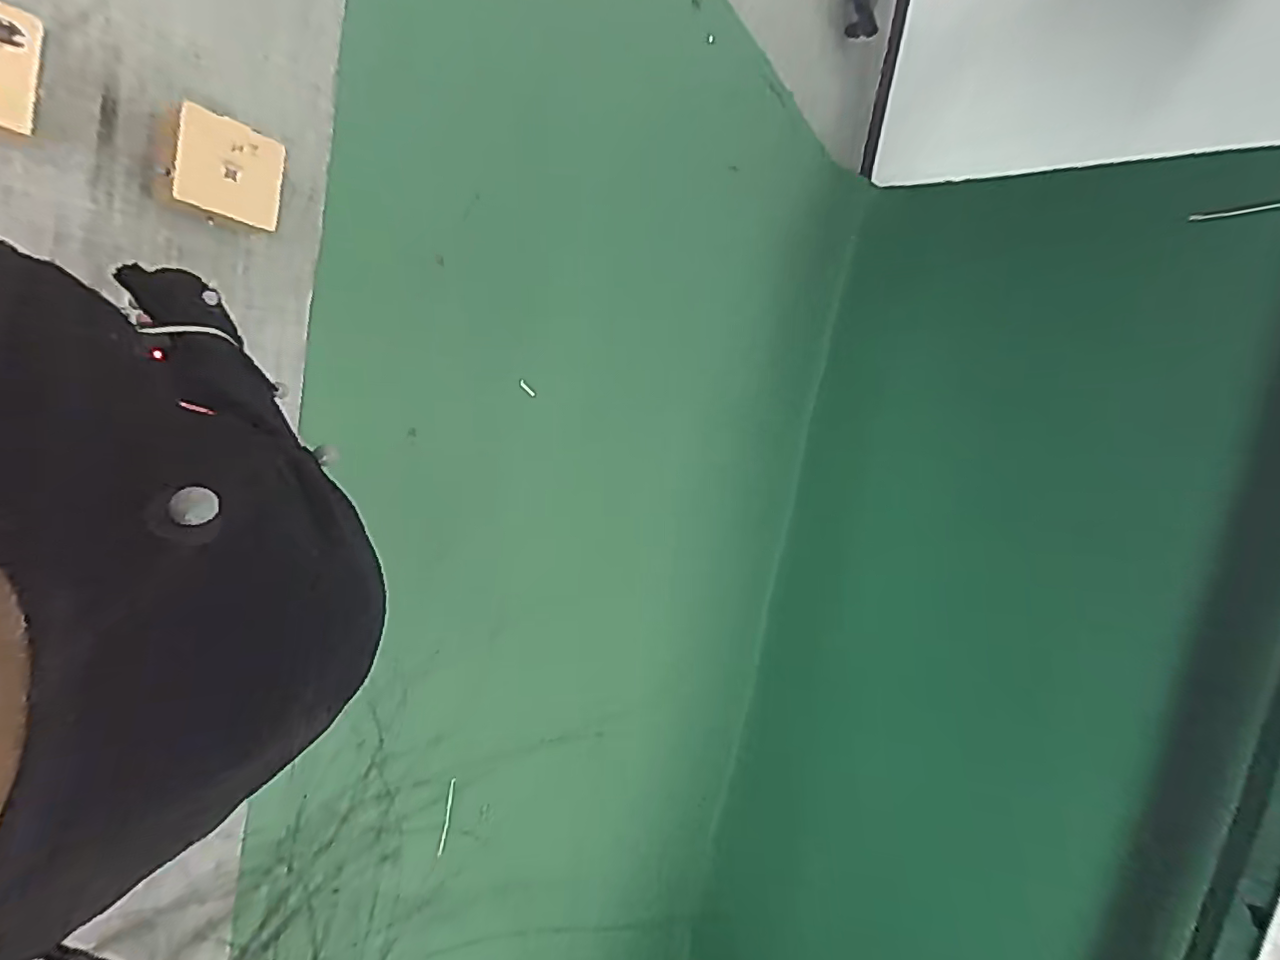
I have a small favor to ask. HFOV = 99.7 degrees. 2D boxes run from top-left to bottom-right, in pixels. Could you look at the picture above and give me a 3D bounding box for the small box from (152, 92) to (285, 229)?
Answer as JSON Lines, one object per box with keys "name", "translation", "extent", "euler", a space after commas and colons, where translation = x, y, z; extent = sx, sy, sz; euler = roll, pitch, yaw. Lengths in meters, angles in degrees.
{"name": "small box", "translation": [-0.837, -0.617, 1.072], "extent": [0.168, 0.176, 0.179], "euler": [4, 100, -53]}
